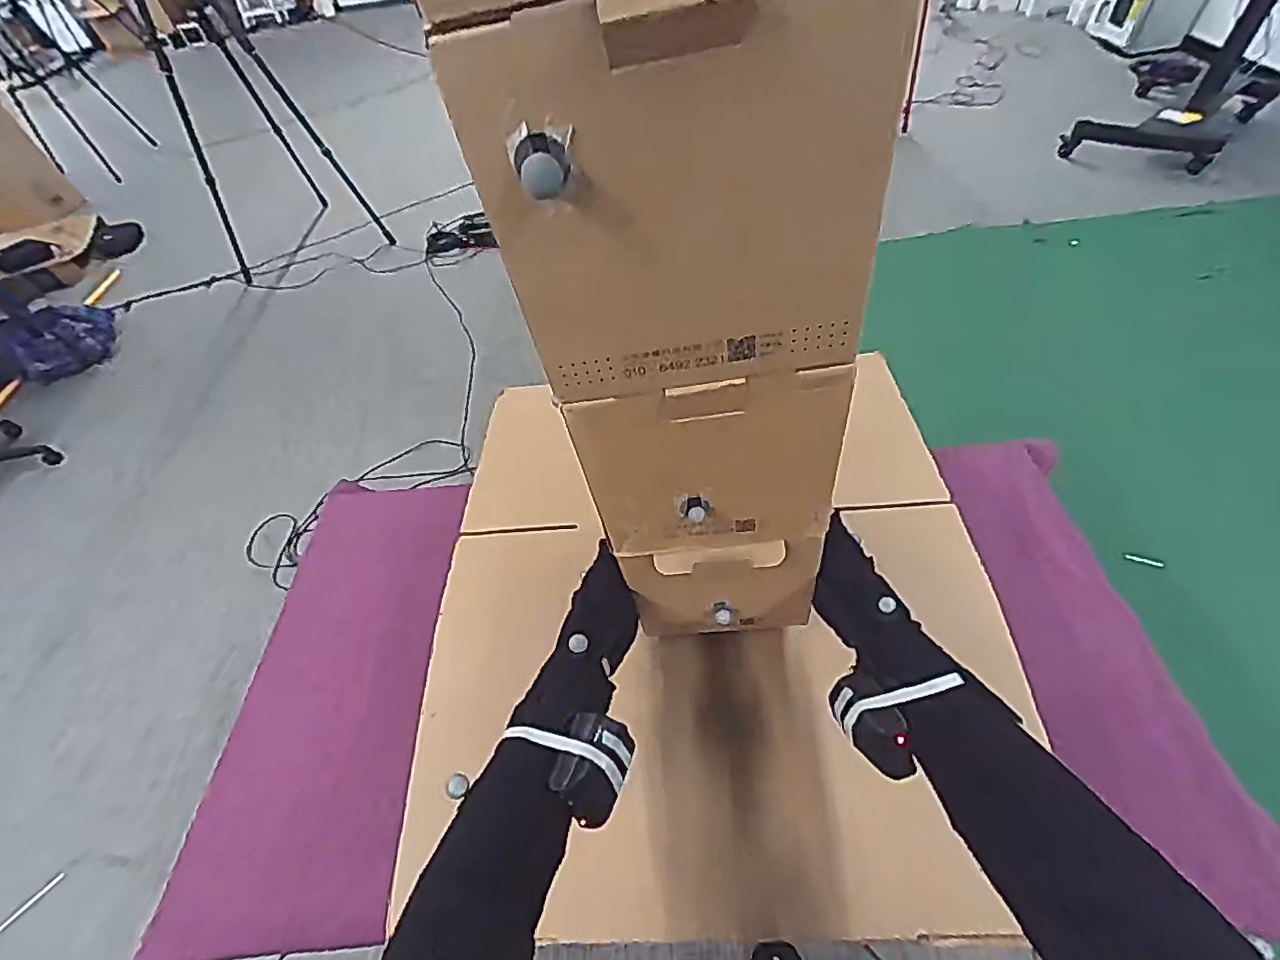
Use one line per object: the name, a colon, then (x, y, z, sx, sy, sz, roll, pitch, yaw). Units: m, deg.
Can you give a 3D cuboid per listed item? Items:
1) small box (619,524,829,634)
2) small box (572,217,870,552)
small box: (0.076, 0.034, 0.534, 0.168, 0.176, 0.179, -5, 52, 7)
small box: (0.051, -0.067, 0.409, 0.168, 0.176, 0.179, -7, 51, 5)
